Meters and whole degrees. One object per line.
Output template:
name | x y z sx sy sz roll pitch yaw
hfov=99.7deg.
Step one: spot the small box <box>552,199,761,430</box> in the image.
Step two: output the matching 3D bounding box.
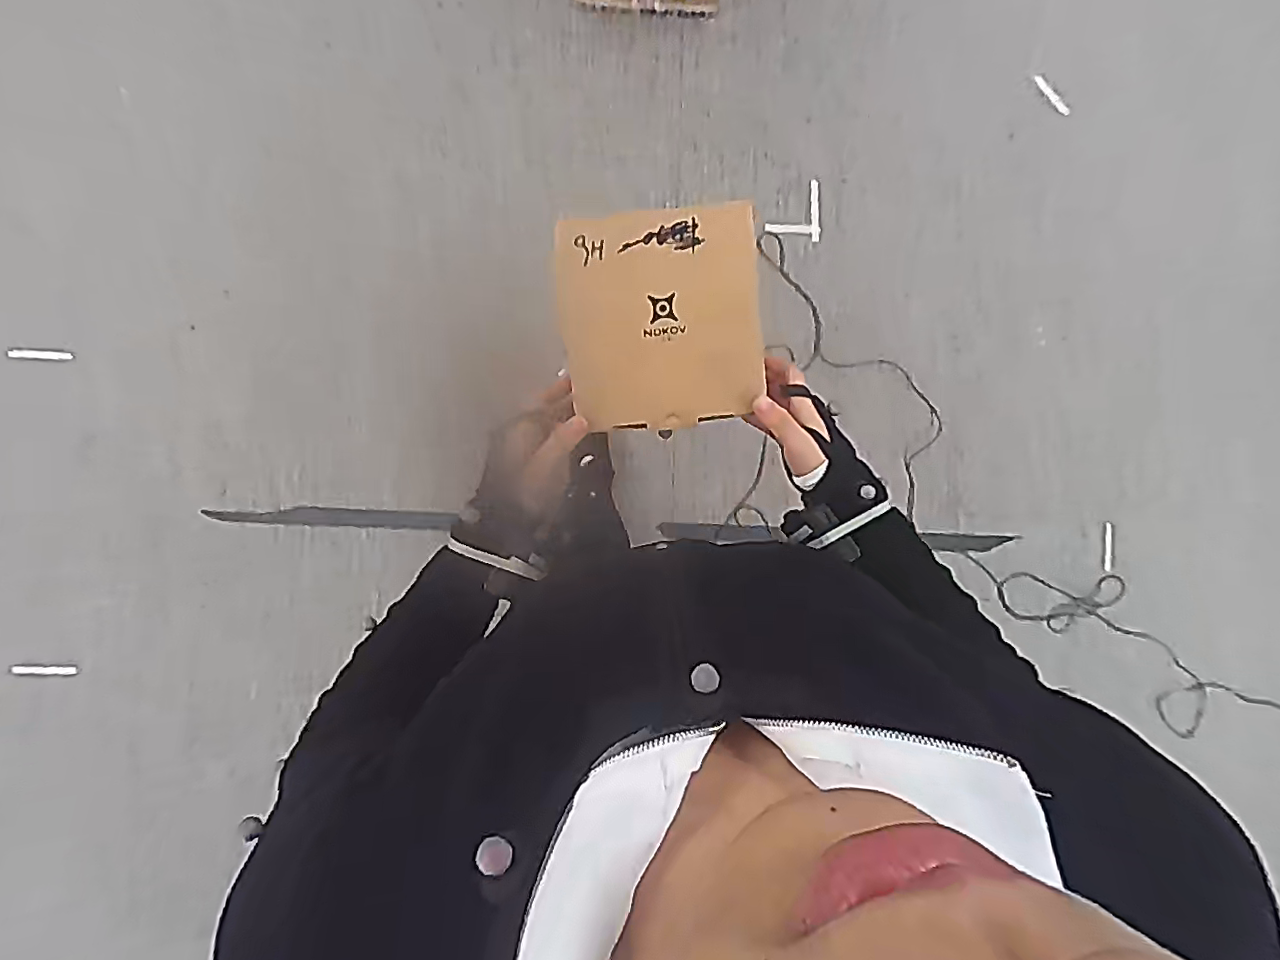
small box | 0.016 -0.148 0.529 0.168 0.176 0.179 -6 98 0
